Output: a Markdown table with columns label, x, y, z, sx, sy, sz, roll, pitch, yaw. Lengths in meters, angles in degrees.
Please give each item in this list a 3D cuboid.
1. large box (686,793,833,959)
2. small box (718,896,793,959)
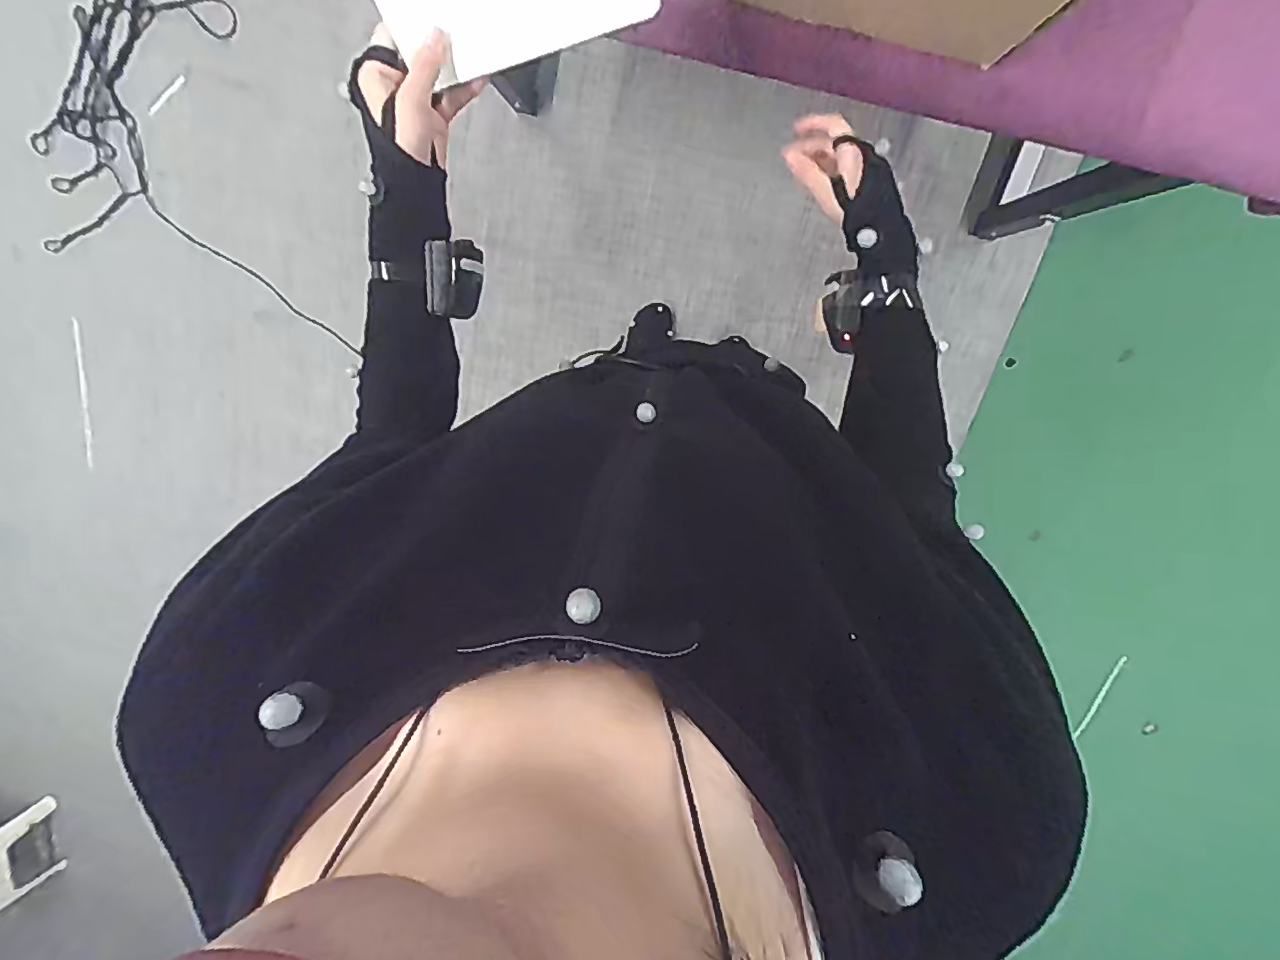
| label | x | y | z | sx | sy | sz | roll | pitch | yaw |
| --- | --- | --- | --- | --- | --- | --- | --- | --- | --- |
| large box | 0.349 | 1.226 | 1.685 | 0.408 | 0.320 | 0.320 | 0 | 106 | 4 |
| small box | 0.301 | 1.261 | 1.443 | 0.168 | 0.176 | 0.179 | 6 | 105 | 5 |
